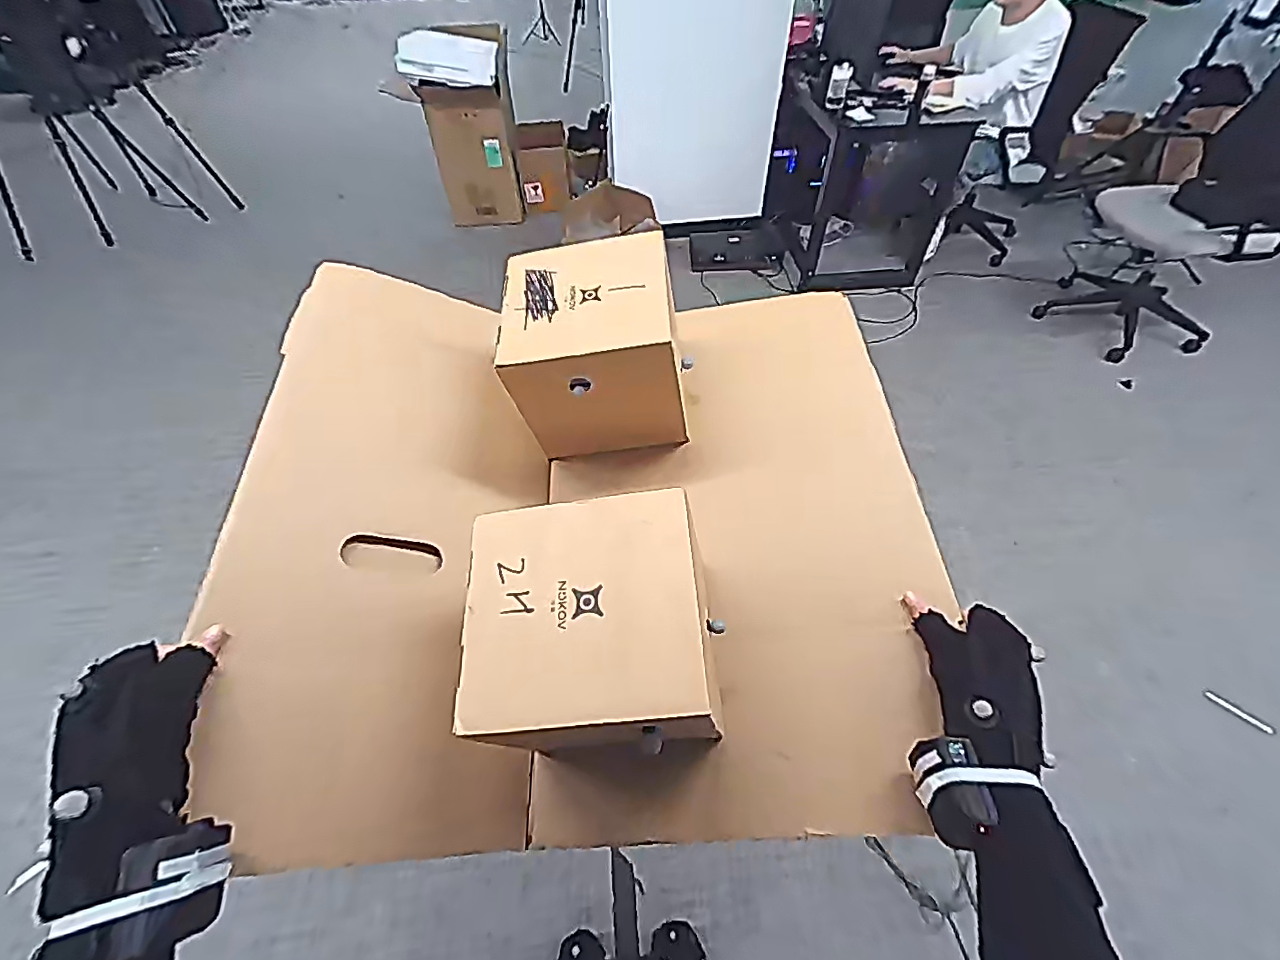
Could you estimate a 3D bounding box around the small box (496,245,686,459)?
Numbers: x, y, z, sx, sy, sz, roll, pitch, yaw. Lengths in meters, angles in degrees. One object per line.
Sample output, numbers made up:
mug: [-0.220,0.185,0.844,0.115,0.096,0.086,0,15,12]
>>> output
small box: [-0.046,-0.138,0.630,0.179,0.176,0.168,-6,59,7]

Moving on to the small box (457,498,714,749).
small box: [-0.031,0.134,0.469,0.179,0.176,0.168,-8,59,8]
